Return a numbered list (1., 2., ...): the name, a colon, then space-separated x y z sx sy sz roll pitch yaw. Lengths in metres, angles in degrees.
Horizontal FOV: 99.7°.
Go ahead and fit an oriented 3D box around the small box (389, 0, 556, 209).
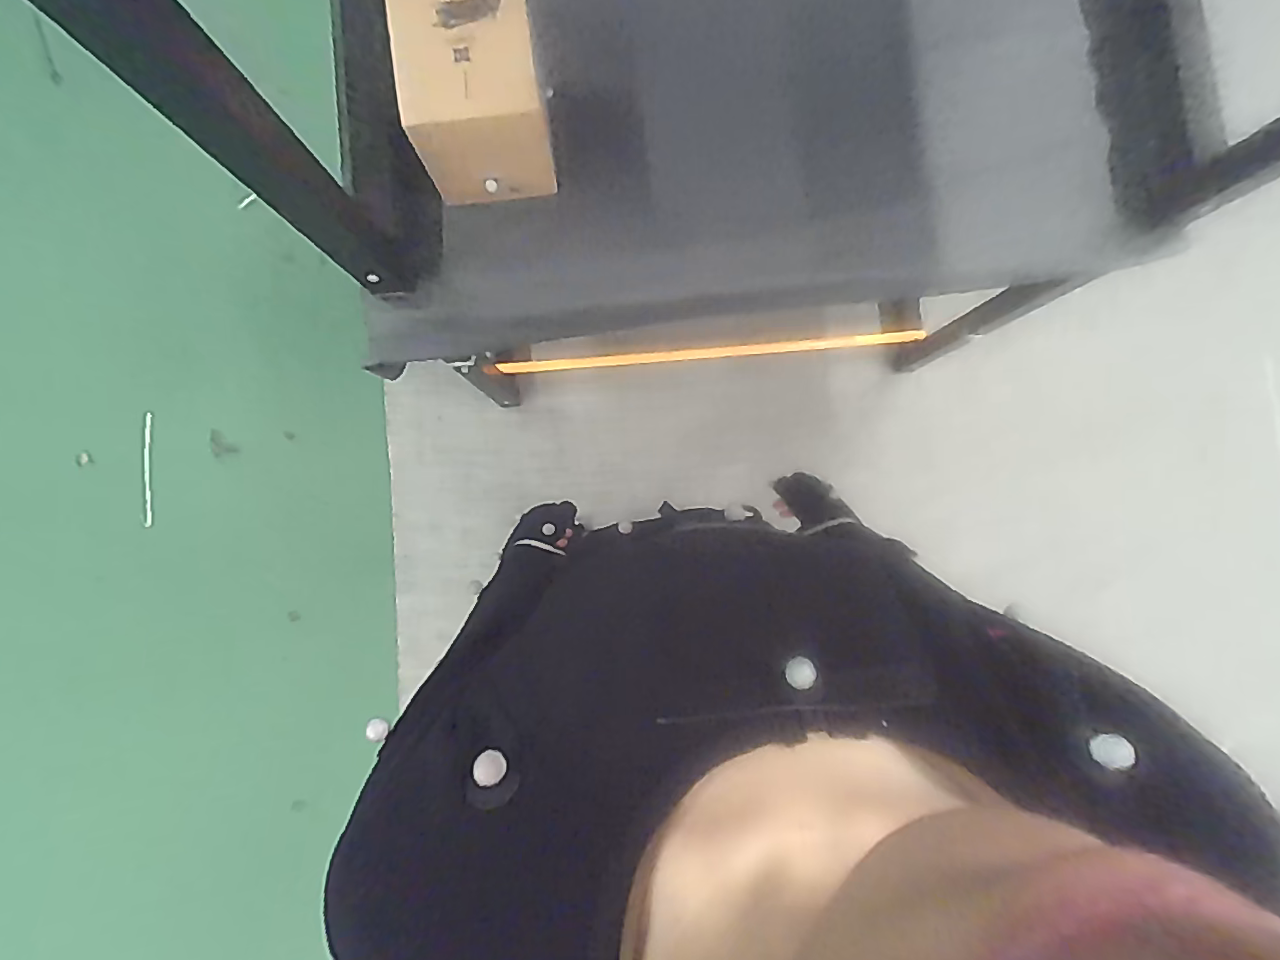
1. small box: -0.212 -0.497 0.720 0.168 0.176 0.179 -8 86 -1
